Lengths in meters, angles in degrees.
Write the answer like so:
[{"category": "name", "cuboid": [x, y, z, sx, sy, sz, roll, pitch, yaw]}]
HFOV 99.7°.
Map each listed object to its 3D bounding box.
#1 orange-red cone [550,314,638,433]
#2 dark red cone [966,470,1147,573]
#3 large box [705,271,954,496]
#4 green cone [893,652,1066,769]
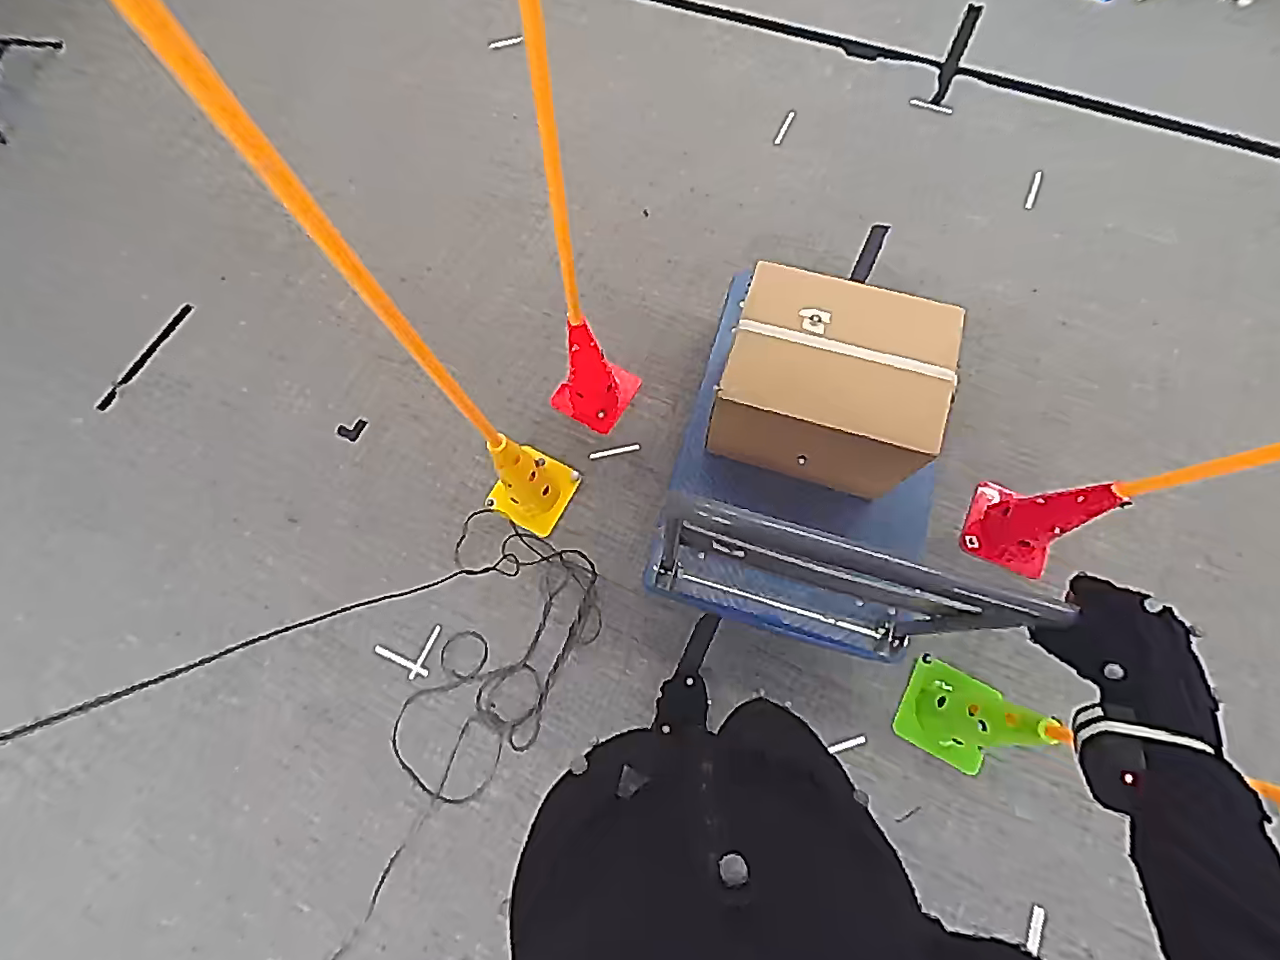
[{"category": "orange-red cone", "cuboid": [-0.135, -0.303, 1.374, 0.198, 0.360, 0.199, 31, 75, 11]}, {"category": "dark red cone", "cuboid": [0.924, 0.059, 1.187, 0.201, 0.394, 0.202, 24, 75, 8]}, {"category": "large box", "cuboid": [0.378, -0.188, 1.161, 0.408, 0.320, 0.320, 16, 75, 8]}, {"category": "green cone", "cuboid": [0.700, 0.477, 1.082, 0.202, 0.368, 0.200, 28, 76, 10]}]
